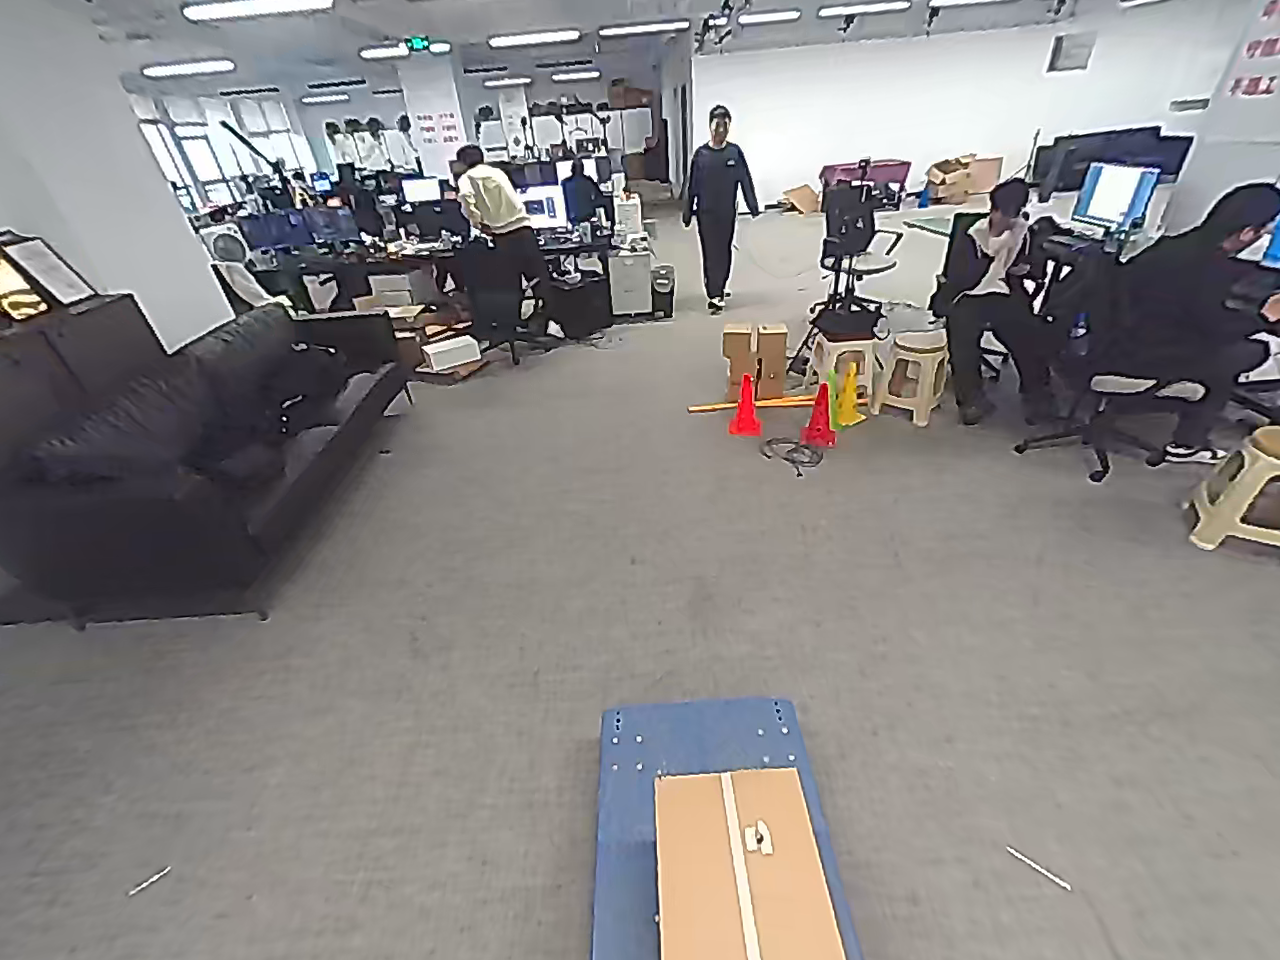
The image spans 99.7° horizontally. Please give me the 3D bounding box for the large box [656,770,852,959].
[{"bbox_3d":[0.208,0.871,1.081,0.320,0.320,0.408,-4,33,1],"label":"large box"}]
